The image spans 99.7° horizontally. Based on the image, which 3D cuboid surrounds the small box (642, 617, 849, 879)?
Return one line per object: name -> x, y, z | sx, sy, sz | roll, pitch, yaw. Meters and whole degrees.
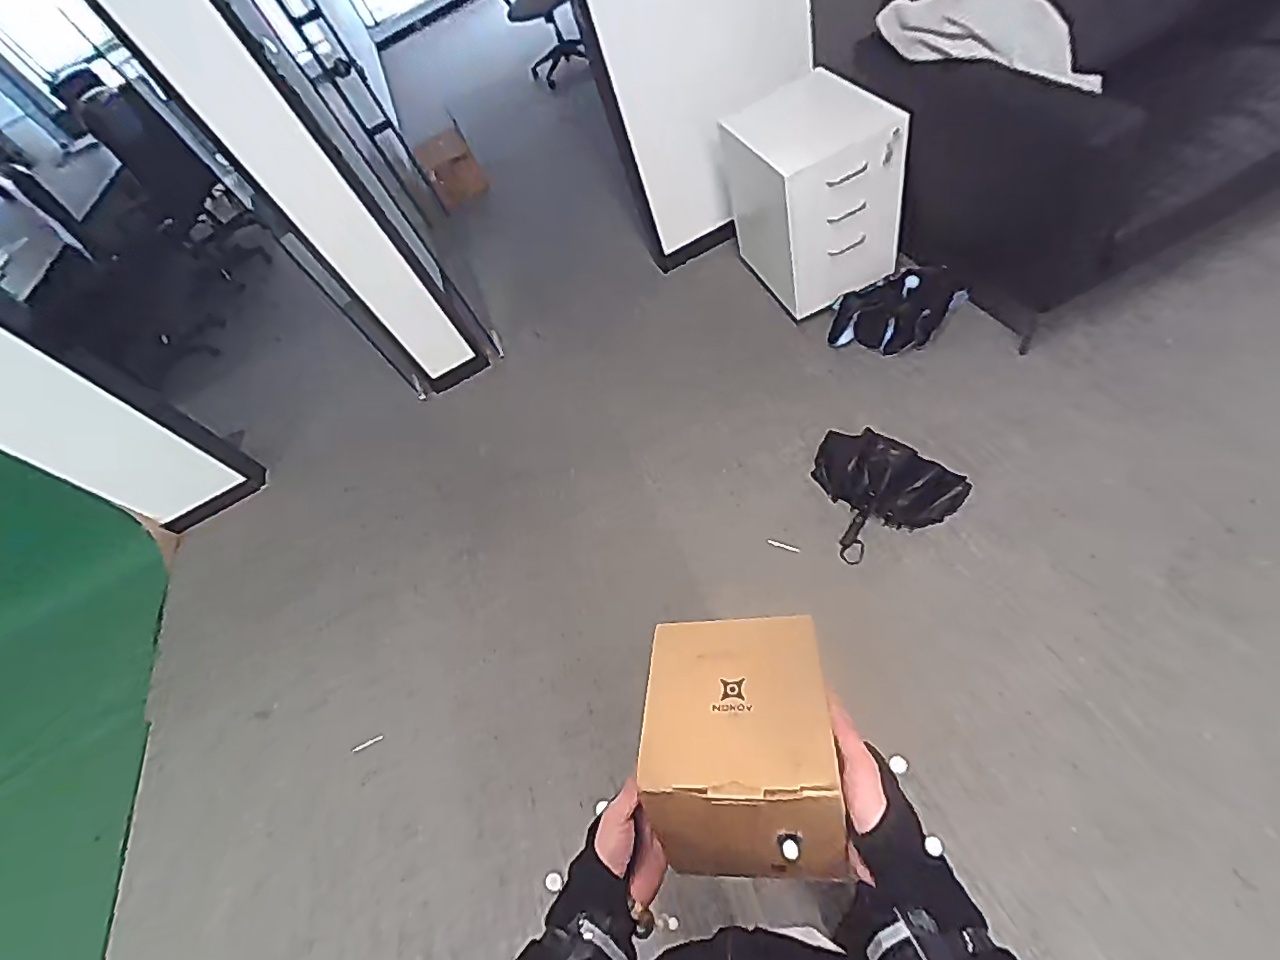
small box -> 0.109, 0.263, 0.539 | 0.168, 0.176, 0.179 | -6, 32, 13
